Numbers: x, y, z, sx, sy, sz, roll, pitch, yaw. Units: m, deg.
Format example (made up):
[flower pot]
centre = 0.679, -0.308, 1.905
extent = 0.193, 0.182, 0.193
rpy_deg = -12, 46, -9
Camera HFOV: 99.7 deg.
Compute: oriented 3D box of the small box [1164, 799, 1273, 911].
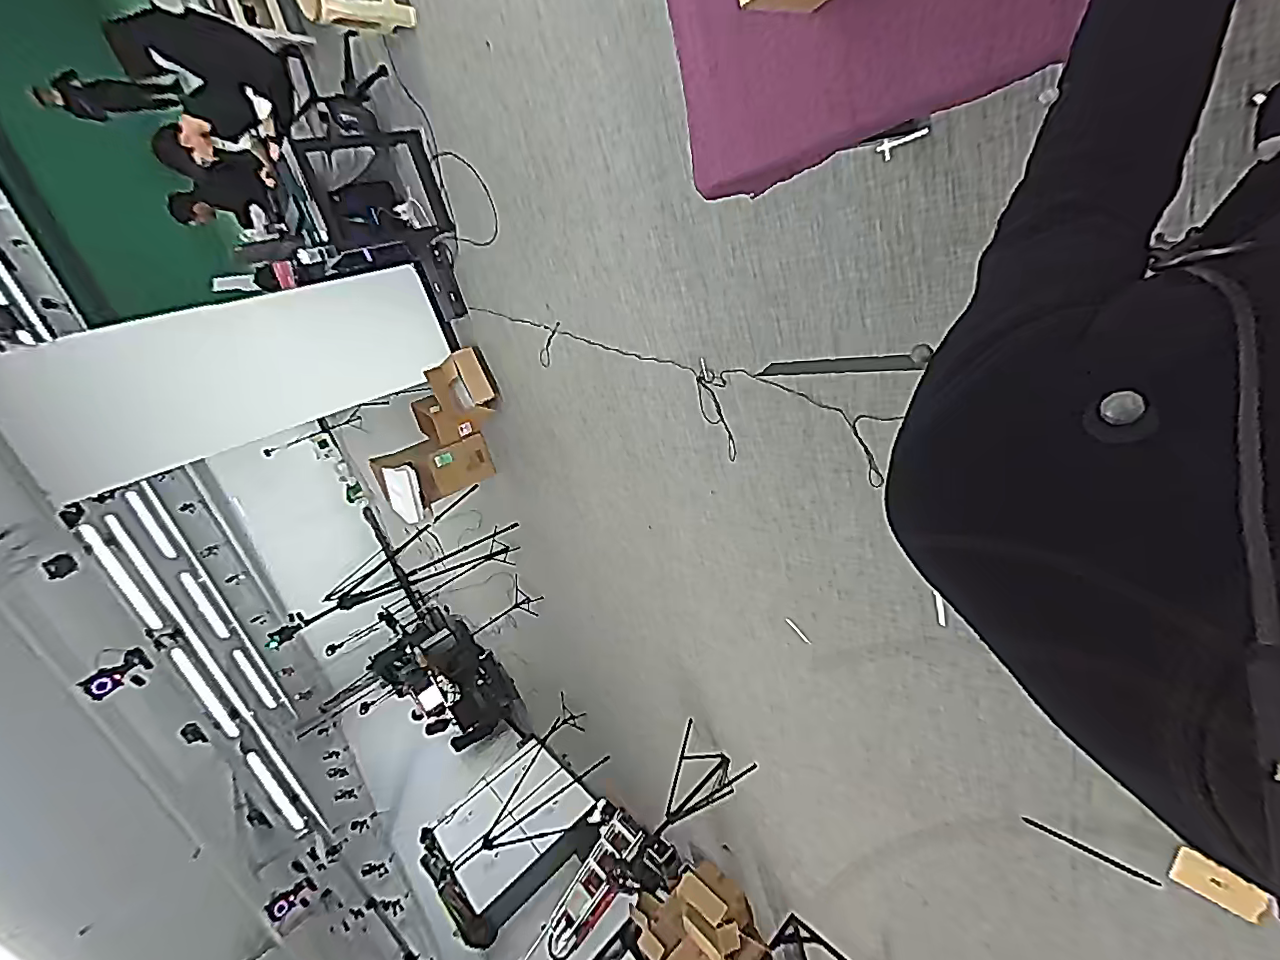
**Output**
[small box]
centre = 1.658, 1.061, 1.551
extent = 0.179, 0.176, 0.168
rpy_deg = 18, 129, 45
